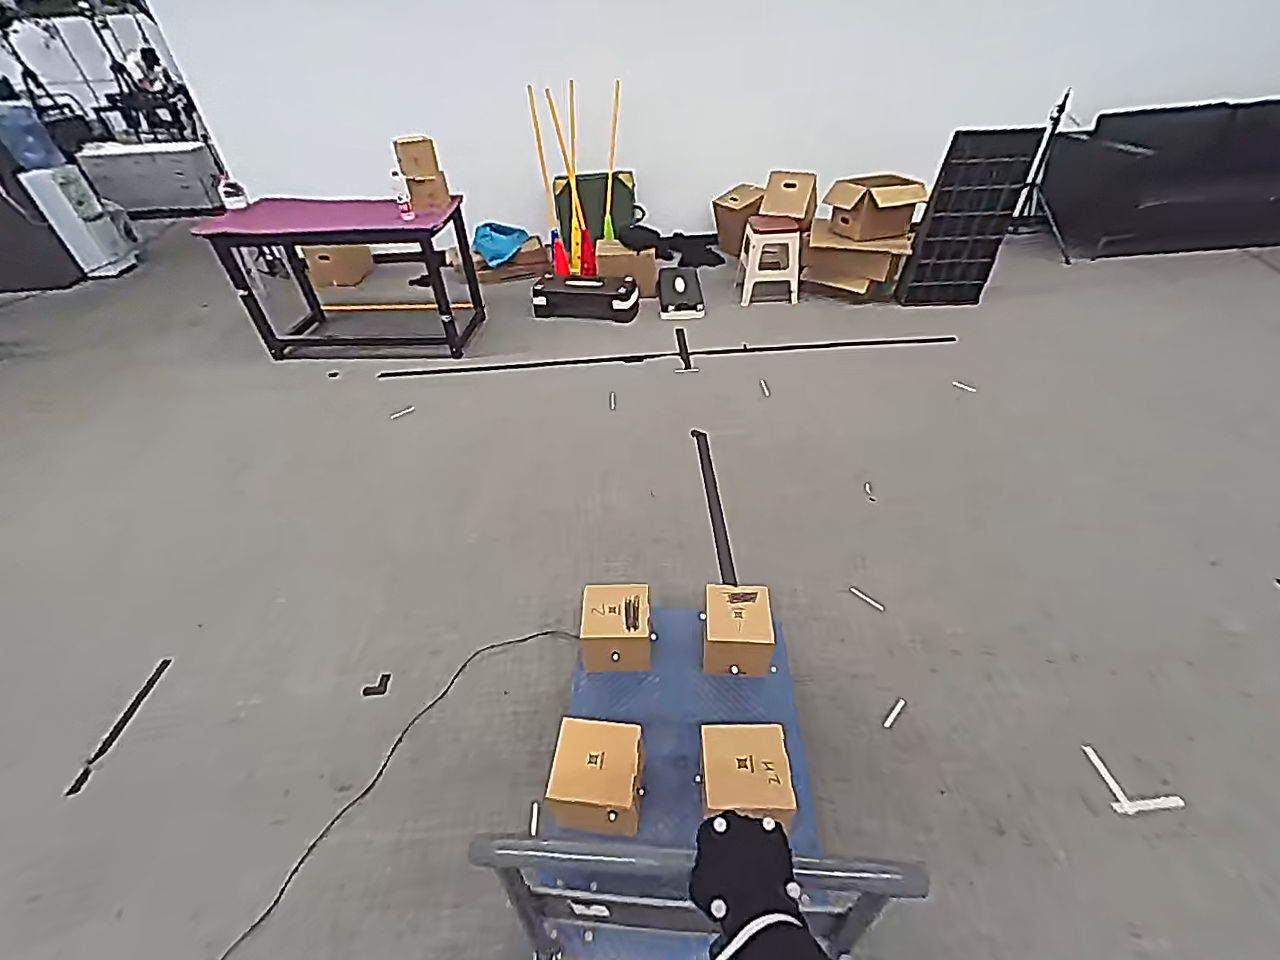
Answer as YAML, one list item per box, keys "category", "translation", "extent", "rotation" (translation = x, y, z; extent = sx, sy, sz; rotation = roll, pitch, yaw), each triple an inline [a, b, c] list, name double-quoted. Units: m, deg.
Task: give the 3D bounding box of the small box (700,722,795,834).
- category: "small box"
  translation: [0.220, 0.639, 1.158]
  extent: [0.179, 0.176, 0.168]
  rotation: [-1, 41, 2]

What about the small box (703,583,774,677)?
- category: "small box"
  translation: [0.256, 0.397, 1.440]
  extent: [0.168, 0.176, 0.179]
  rotation: [2, 42, 4]

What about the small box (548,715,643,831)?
- category: "small box"
  translation: [-0.089, 0.638, 1.176]
  extent: [0.179, 0.176, 0.168]
  rotation: [4, 41, 5]
